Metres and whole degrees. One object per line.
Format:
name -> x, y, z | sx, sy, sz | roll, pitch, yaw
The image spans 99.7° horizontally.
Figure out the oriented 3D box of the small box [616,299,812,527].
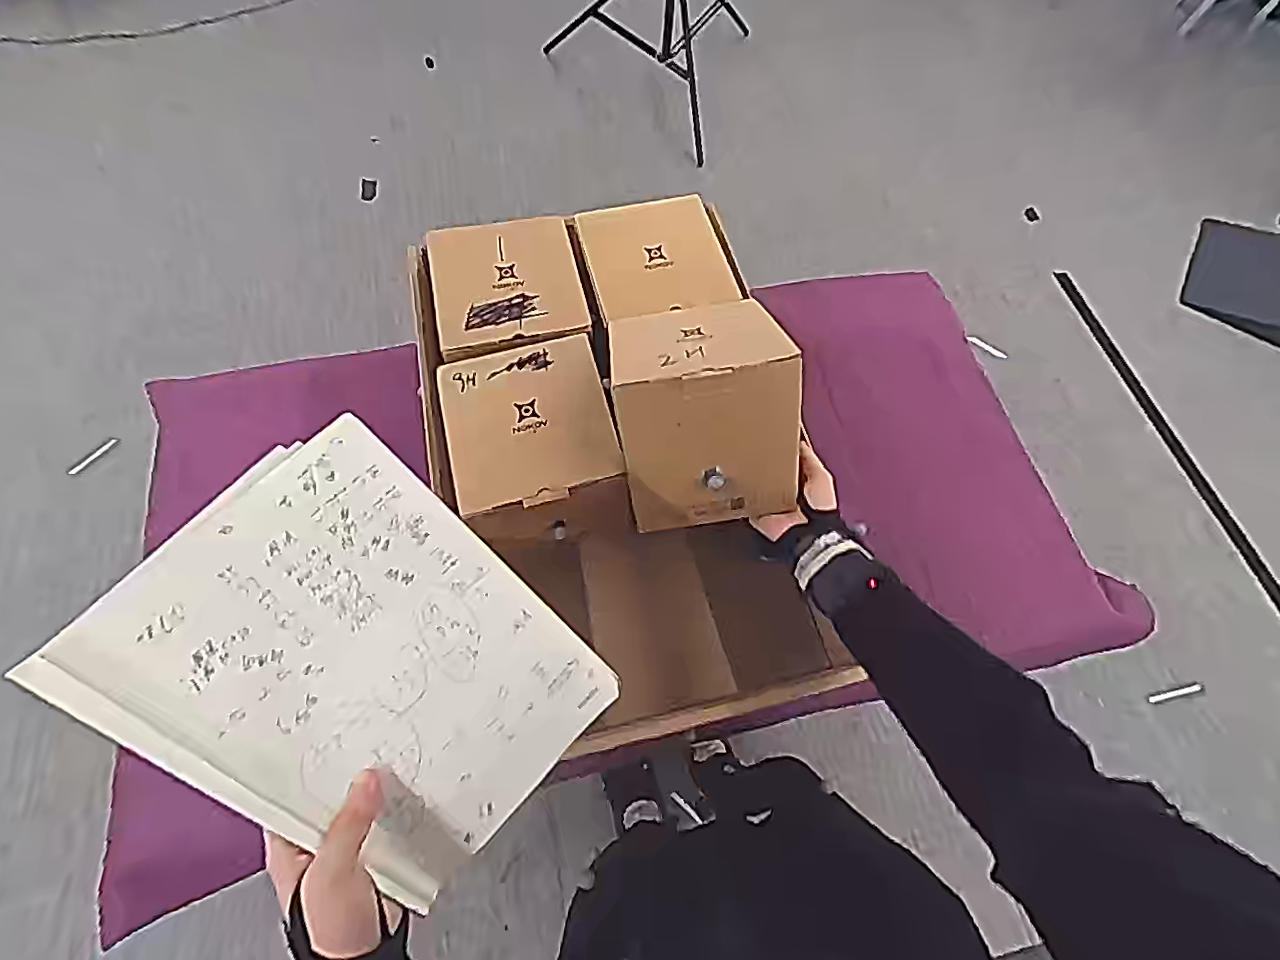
small box -> 0.066, -0.074, 0.569 | 0.168, 0.176, 0.179 | -8, 36, 0
